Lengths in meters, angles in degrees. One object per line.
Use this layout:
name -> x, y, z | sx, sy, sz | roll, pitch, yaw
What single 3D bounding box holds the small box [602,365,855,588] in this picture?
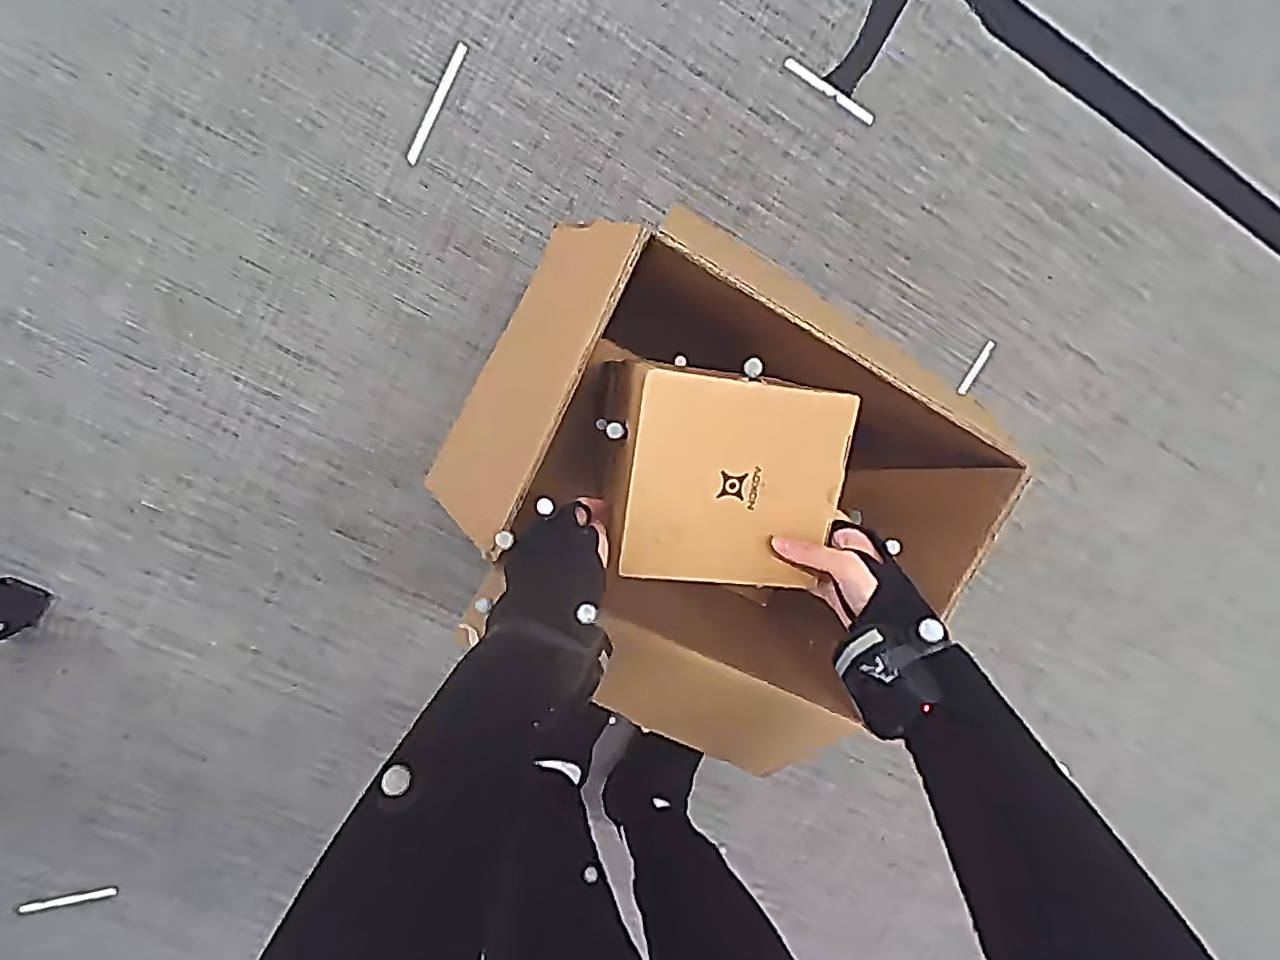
small box -> 0.063, -0.014, 0.505 | 0.179, 0.176, 0.168 | 5, 103, -11
